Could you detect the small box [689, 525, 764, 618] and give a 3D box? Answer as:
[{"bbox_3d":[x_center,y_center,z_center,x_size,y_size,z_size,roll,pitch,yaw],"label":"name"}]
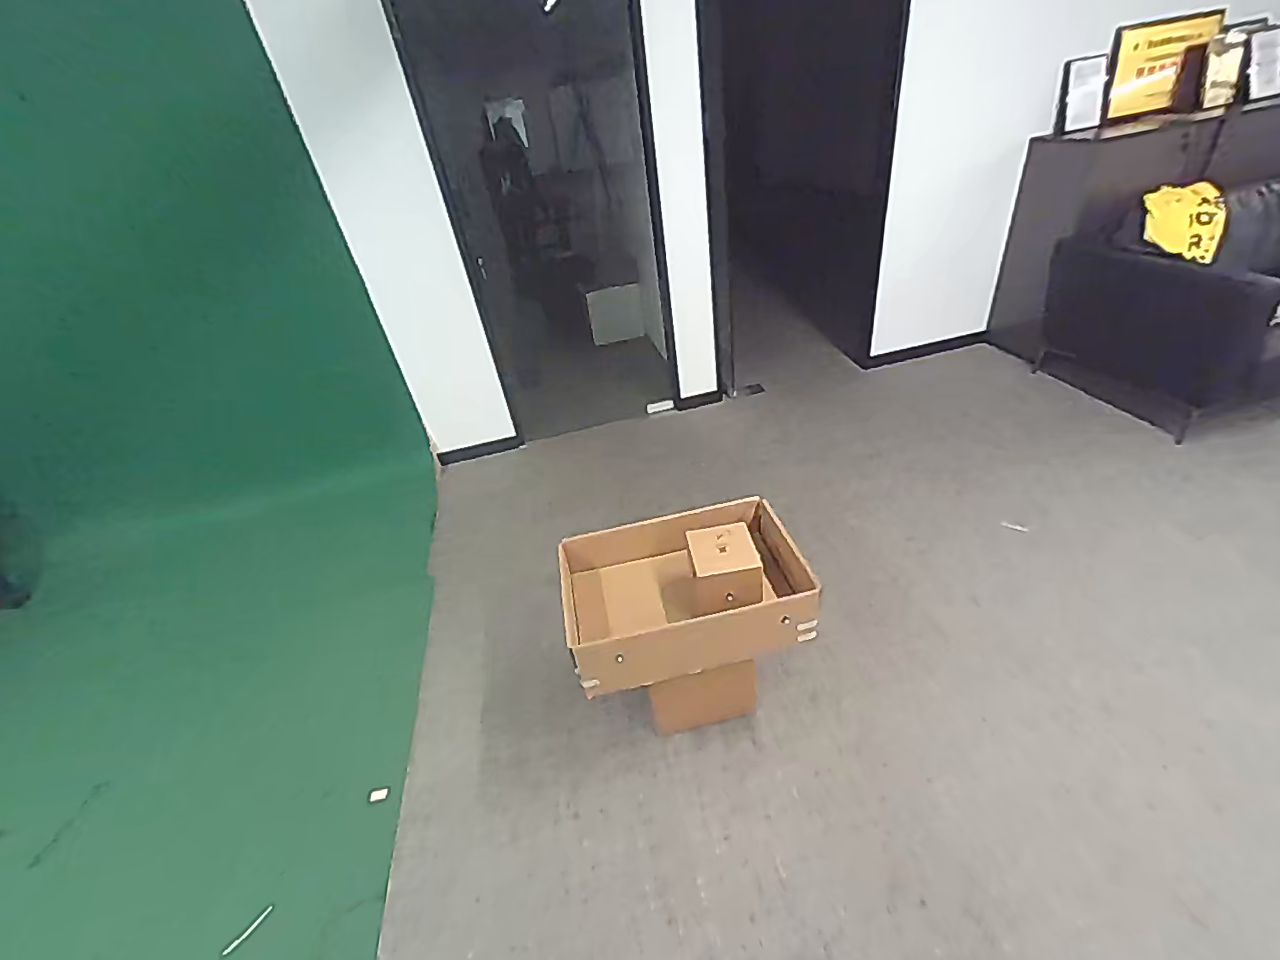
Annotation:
[{"bbox_3d":[0.229,0.248,1.428,0.168,0.176,0.179,-9,35,0],"label":"small box"}]
